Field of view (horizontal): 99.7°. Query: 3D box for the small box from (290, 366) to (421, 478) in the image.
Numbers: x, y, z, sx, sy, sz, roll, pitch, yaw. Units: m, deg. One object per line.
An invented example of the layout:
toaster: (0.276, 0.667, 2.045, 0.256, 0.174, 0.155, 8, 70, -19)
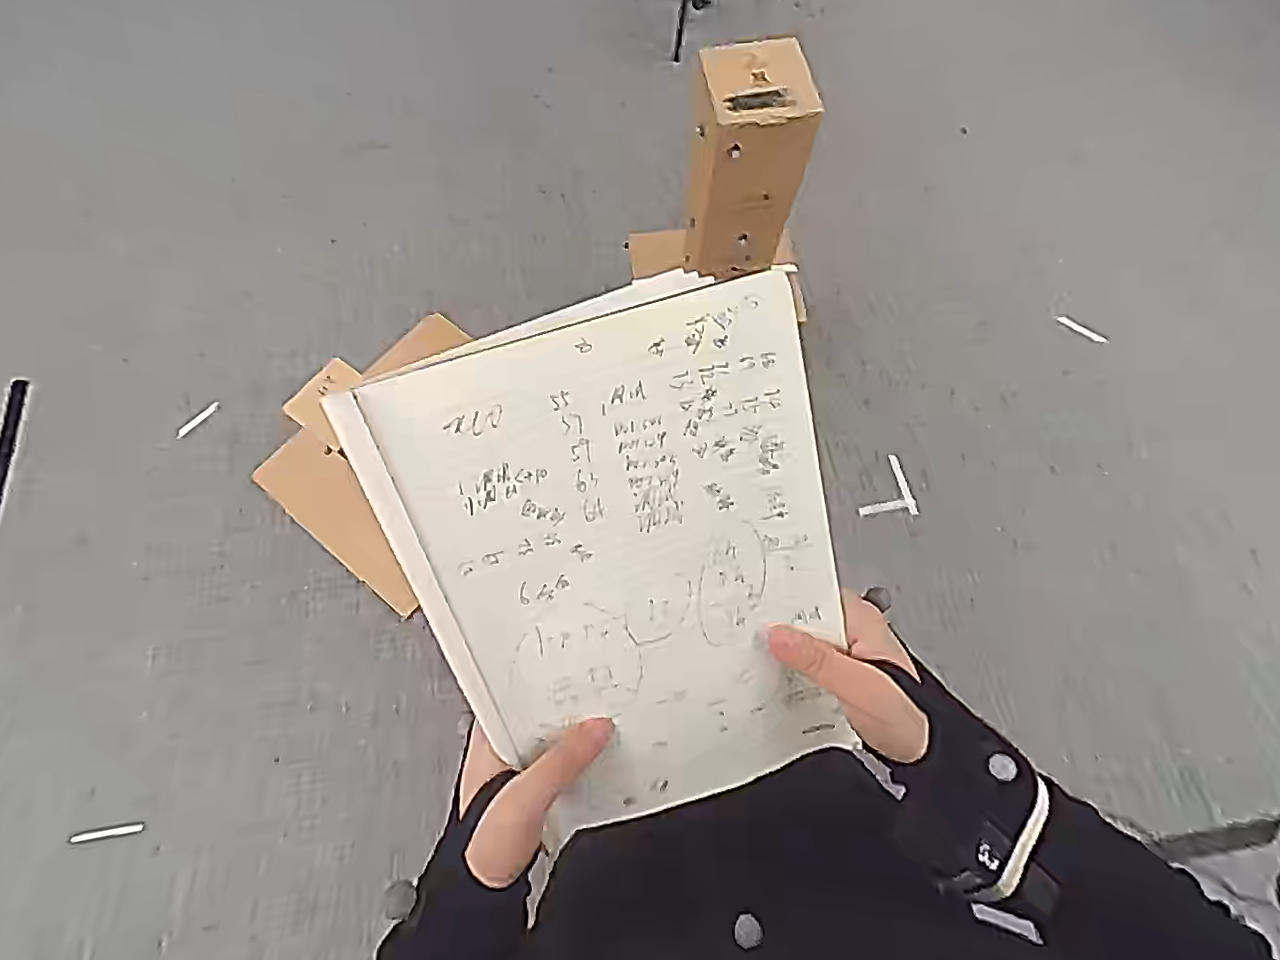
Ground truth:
small box: (-0.648, -0.125, 1.256, 0.179, 0.176, 0.168, 35, 73, 12)

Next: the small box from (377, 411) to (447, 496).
small box: (-0.643, -0.081, 1.416, 0.179, 0.176, 0.168, 34, 74, 10)

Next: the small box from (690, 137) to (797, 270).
small box: (0.198, -0.542, 1.083, 0.168, 0.176, 0.179, -6, 72, -3)

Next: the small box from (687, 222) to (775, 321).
small box: (0.200, -0.479, 1.234, 0.168, 0.176, 0.179, -4, 71, -1)
